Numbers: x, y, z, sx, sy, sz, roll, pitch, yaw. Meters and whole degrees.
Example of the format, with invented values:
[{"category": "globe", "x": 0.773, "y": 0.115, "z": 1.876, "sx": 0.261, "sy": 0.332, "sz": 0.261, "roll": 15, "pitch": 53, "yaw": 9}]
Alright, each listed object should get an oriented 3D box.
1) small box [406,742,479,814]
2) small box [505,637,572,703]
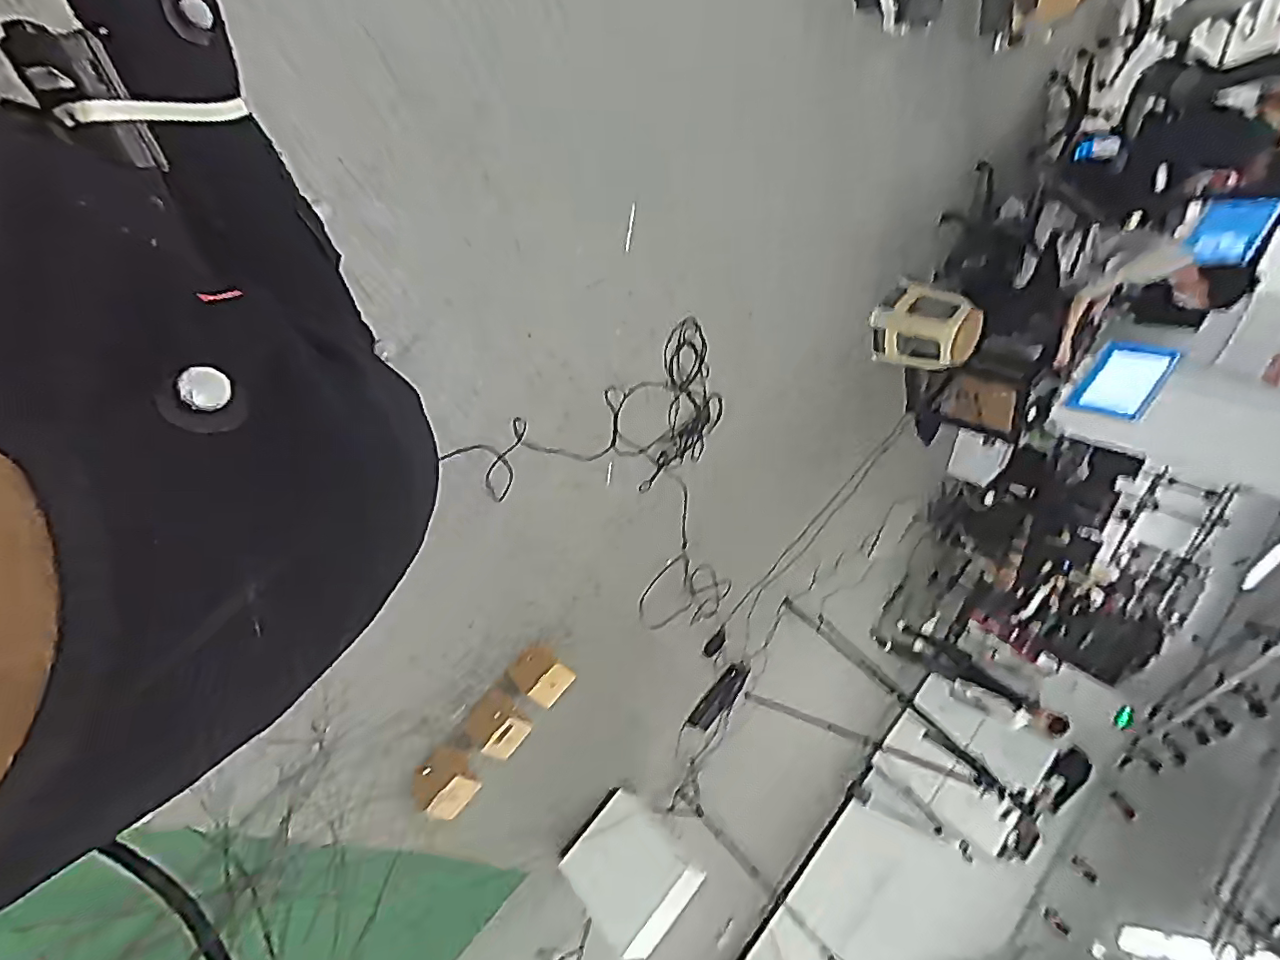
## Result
[{"category": "small box", "x": -0.769, "y": 1.155, "z": 2.103, "sx": 0.168, "sy": 0.176, "sz": 0.179, "roll": -47, "pitch": 138, "yaw": -14}, {"category": "small box", "x": -0.417, "y": 0.777, "z": 2.220, "sx": 0.168, "sy": 0.176, "sz": 0.179, "roll": -47, "pitch": 138, "yaw": -14}]
